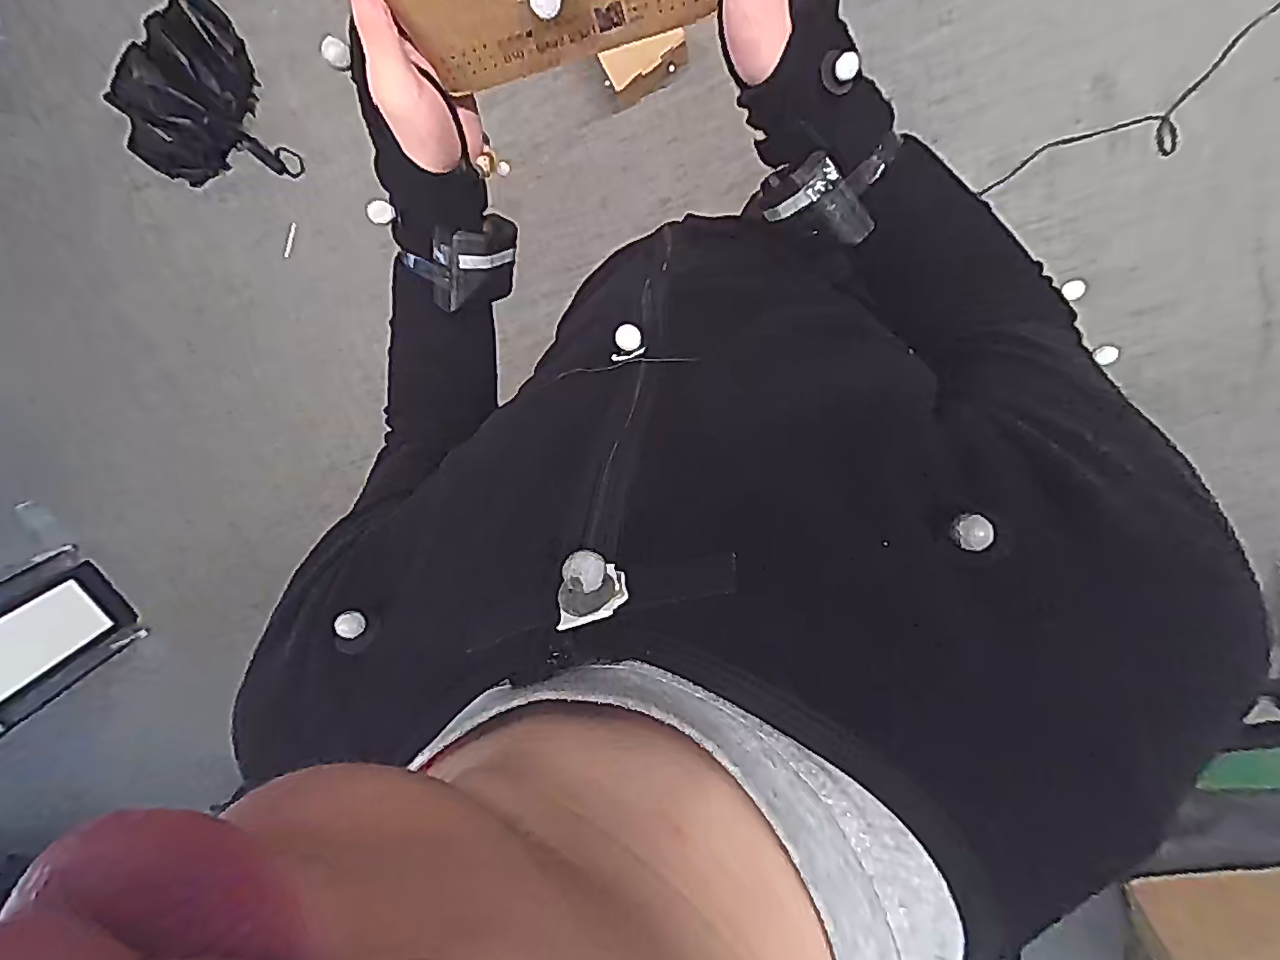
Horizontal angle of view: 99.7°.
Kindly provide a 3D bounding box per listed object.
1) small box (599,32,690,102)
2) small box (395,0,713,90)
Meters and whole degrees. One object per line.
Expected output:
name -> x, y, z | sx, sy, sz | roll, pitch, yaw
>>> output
small box -> -0.005, -0.926, 1.124 | 0.168, 0.176, 0.179 | -27, 107, 18
small box -> -0.062, -0.326, 0.234 | 0.168, 0.176, 0.179 | -9, 88, 10
